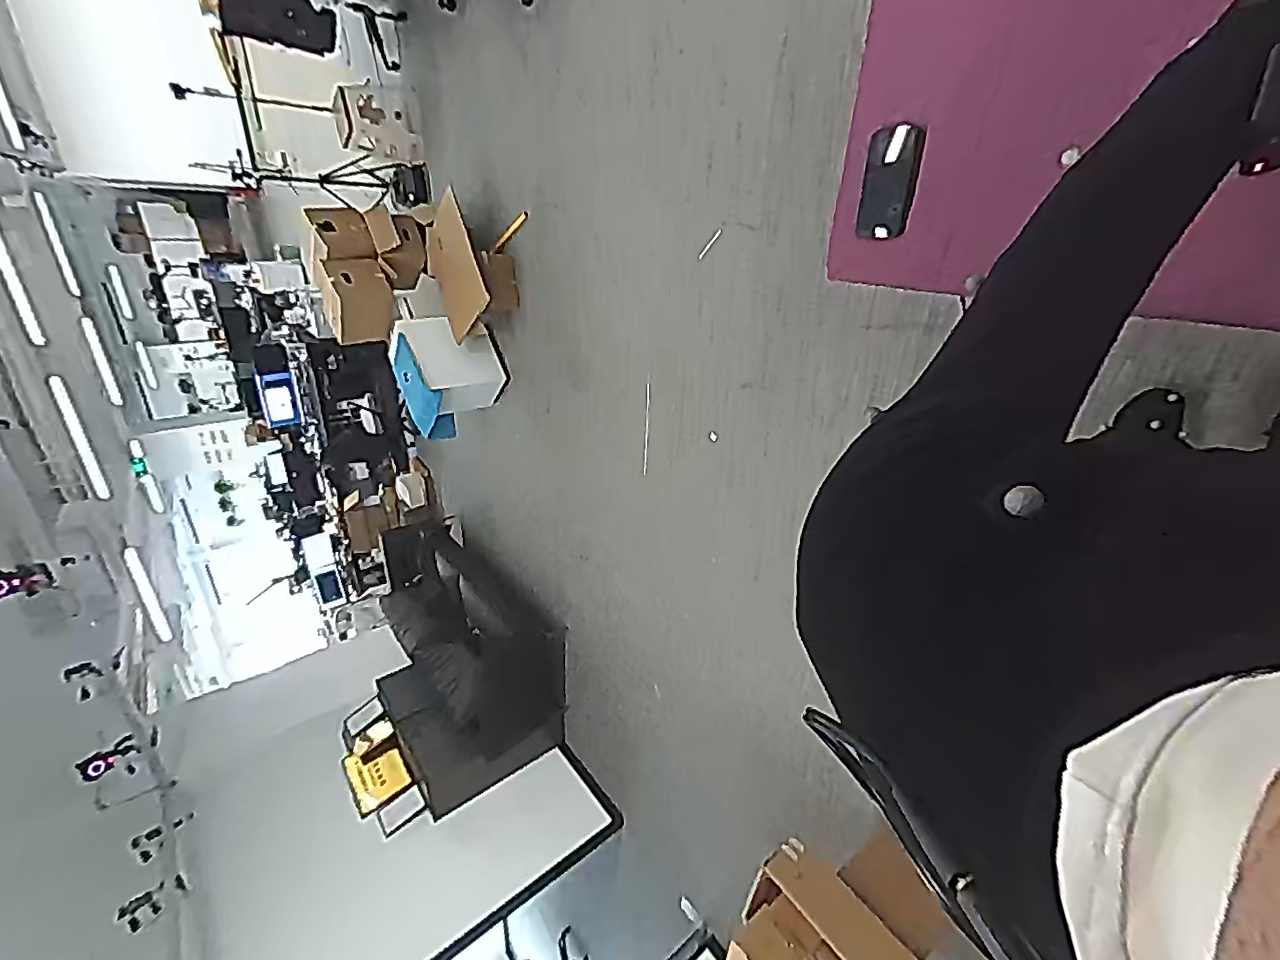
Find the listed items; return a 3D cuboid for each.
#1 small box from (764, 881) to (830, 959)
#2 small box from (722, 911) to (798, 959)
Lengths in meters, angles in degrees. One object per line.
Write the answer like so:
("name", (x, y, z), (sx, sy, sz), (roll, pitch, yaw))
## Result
("small box", (0.516, 1.525, 1.836), (0.168, 0.176, 0.179), (37, 129, 40))
("small box", (0.384, 1.552, 1.741), (0.168, 0.176, 0.179), (32, 127, 43))
